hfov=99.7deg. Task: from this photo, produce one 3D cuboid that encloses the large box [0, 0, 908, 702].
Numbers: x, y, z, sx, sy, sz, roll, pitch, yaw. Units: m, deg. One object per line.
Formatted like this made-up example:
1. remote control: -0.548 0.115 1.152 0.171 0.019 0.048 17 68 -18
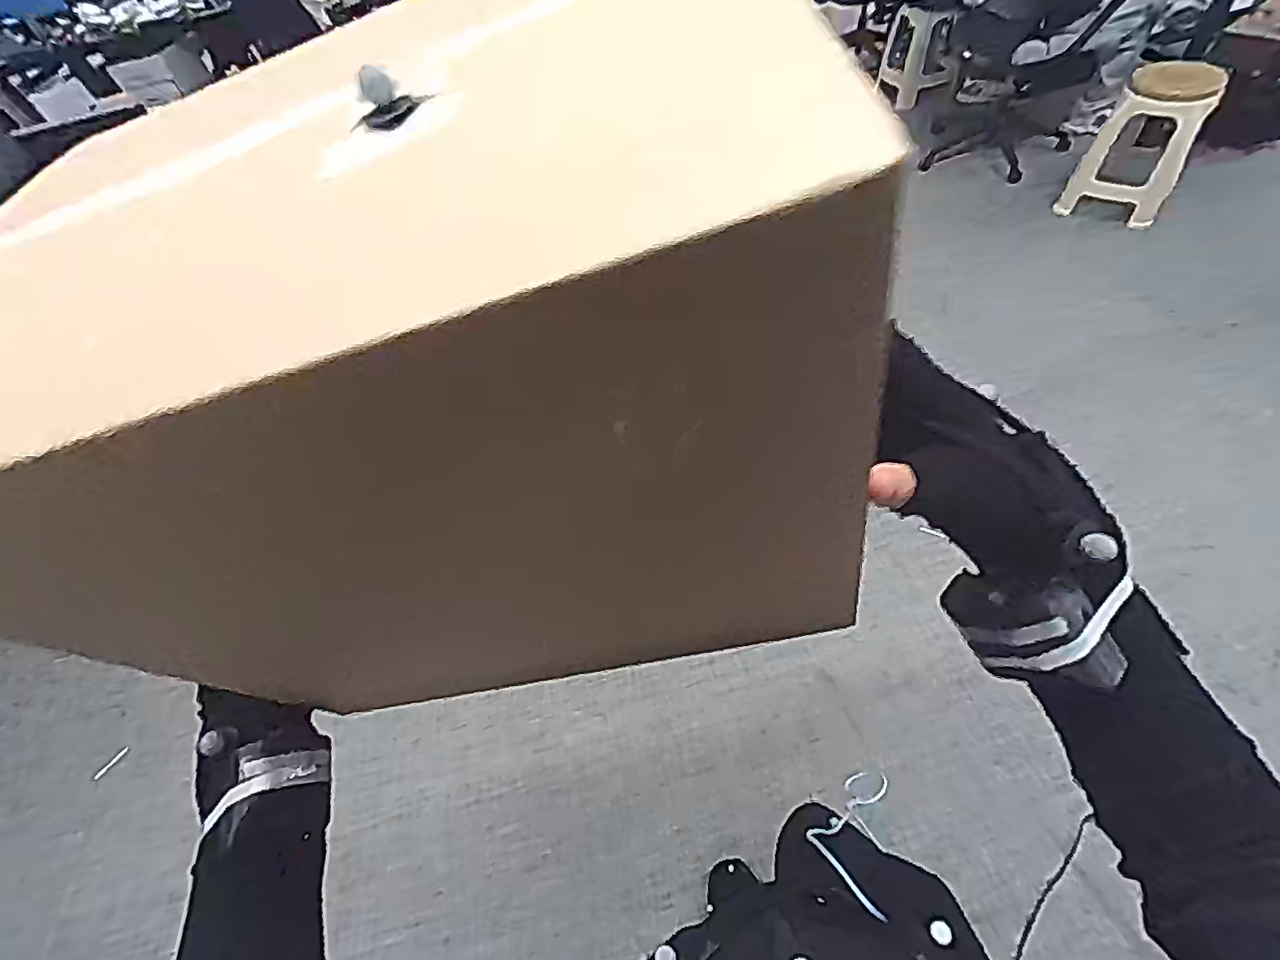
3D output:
1. large box: -0.096 -0.067 0.371 0.408 0.320 0.320 -13 55 10
